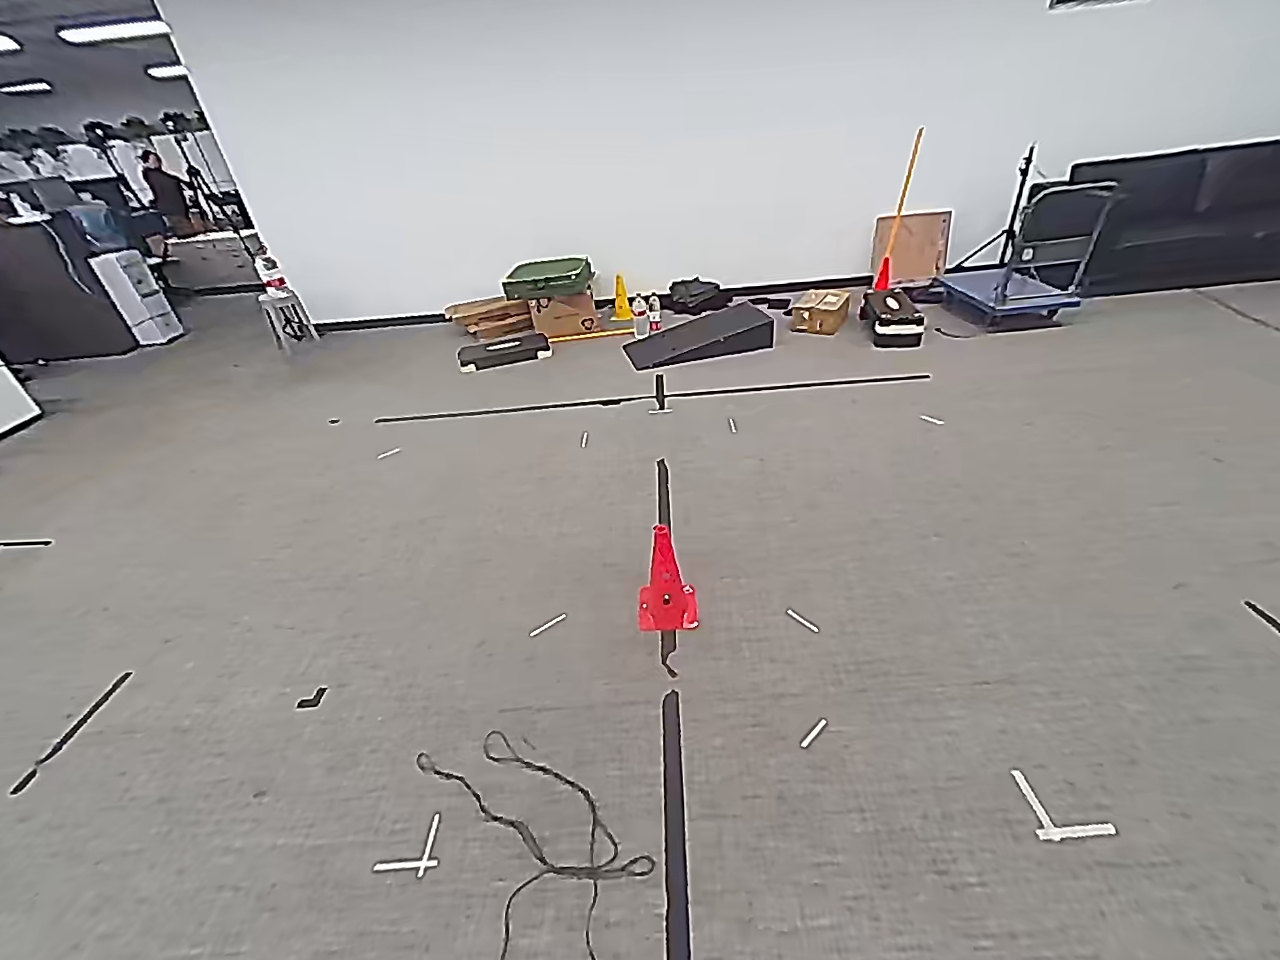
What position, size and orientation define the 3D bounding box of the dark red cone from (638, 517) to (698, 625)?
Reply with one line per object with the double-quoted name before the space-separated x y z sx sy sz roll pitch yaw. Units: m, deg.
"dark red cone" 0.076 0.283 1.770 0.201 0.394 0.202 -5 34 3
